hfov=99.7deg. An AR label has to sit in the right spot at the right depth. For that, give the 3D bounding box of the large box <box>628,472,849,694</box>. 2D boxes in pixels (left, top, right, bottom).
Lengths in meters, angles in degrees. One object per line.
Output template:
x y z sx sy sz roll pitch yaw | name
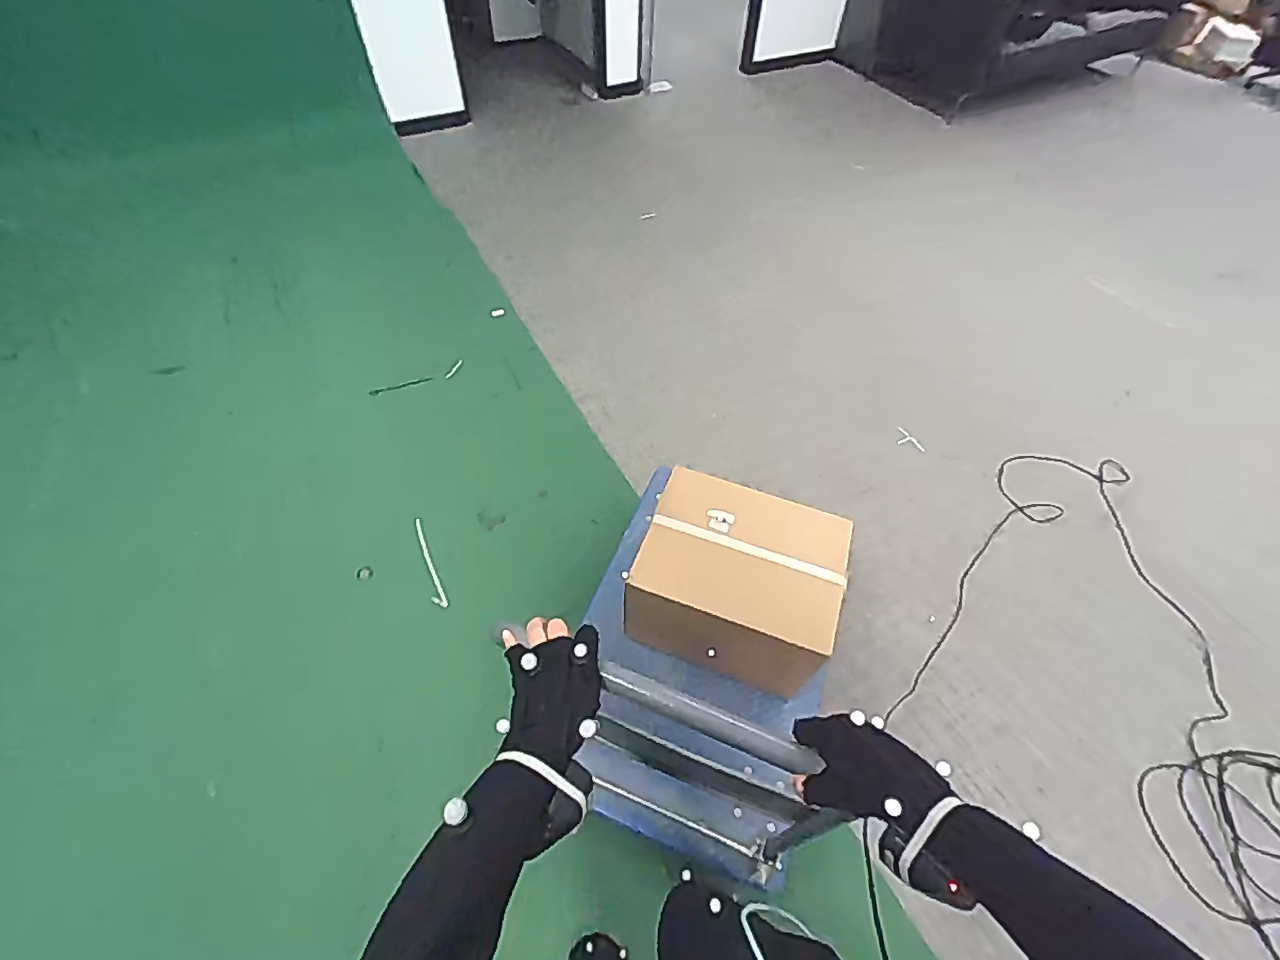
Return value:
0.212 0.239 1.230 0.408 0.320 0.320 18 55 11 | large box
